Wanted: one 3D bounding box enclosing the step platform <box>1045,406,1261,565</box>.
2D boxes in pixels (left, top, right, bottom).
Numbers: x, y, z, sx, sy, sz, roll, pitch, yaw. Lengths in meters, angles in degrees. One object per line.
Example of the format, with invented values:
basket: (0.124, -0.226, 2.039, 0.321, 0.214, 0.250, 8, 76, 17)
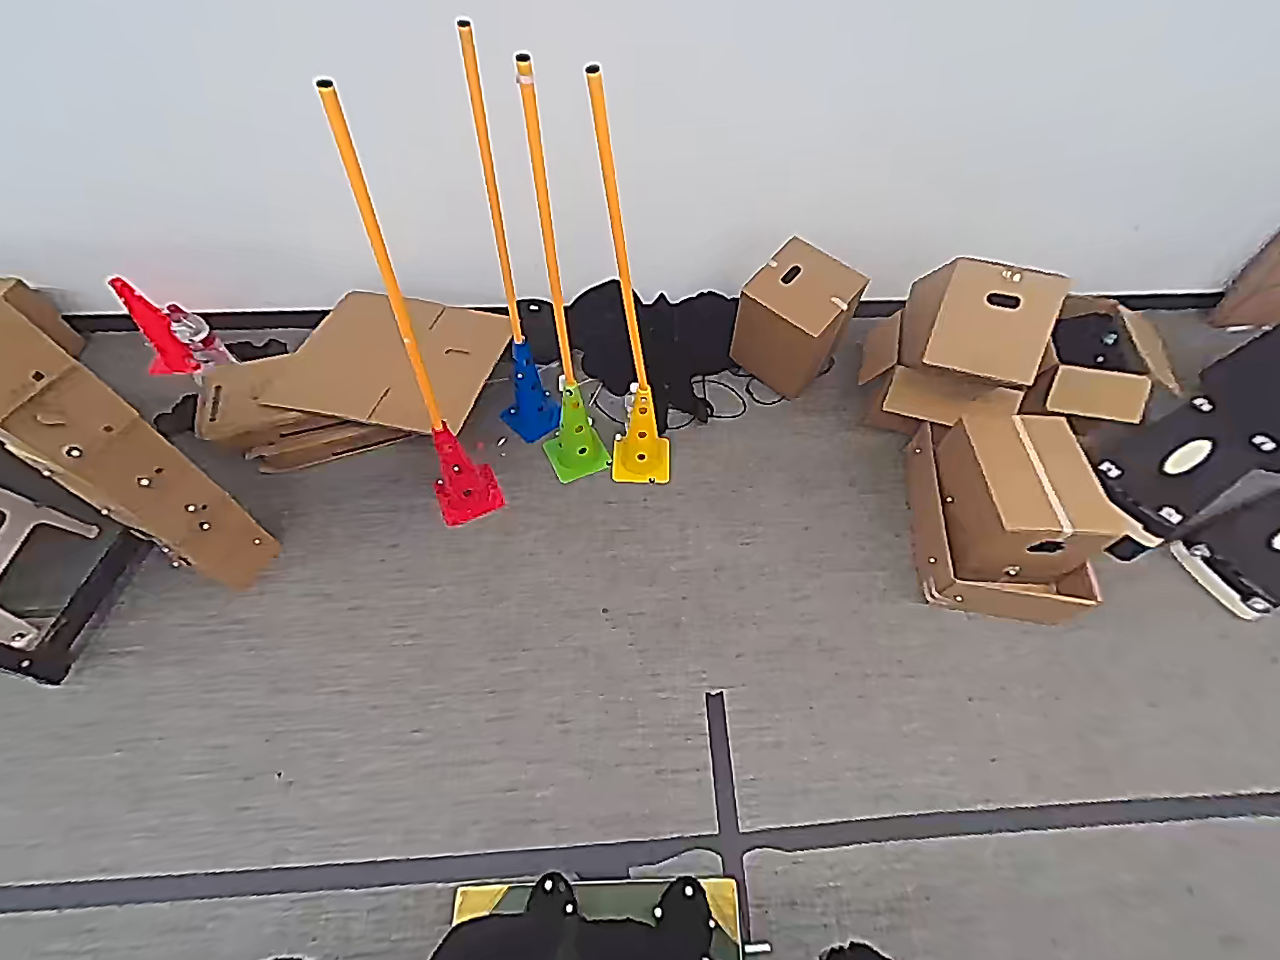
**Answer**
step platform: (1.735, 0.004, 1.829, 0.684, 0.204, 0.286, -26, 60, -18)
